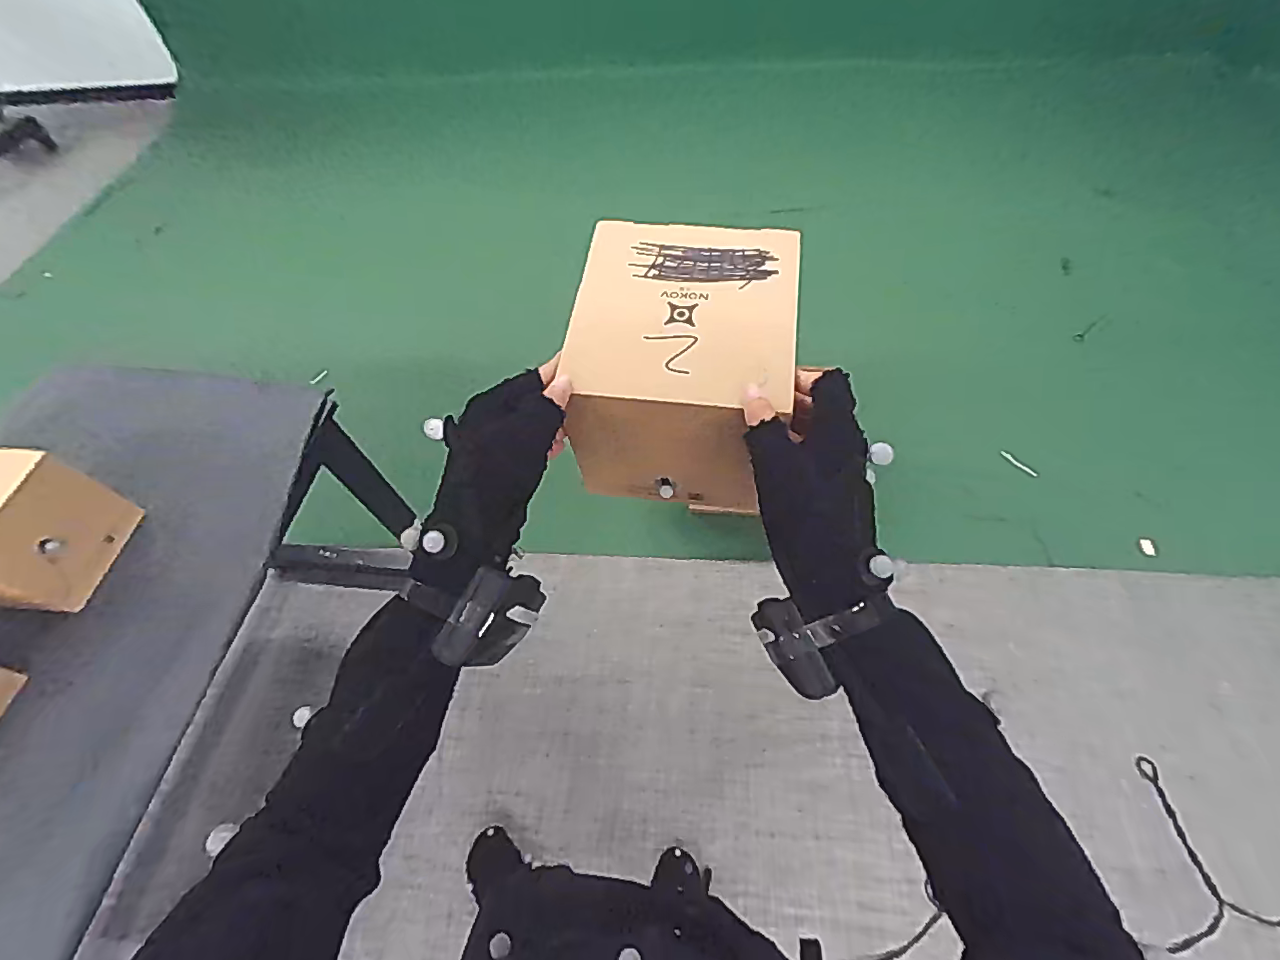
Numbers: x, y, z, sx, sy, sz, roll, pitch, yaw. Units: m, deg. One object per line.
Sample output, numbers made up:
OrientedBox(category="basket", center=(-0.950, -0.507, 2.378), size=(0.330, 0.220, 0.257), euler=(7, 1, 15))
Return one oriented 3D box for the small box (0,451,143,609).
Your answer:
OrientedBox(category="small box", center=(-0.867, 0.073, 0.750), size=(0.179, 0.176, 0.168), euler=(2, 58, 6))
